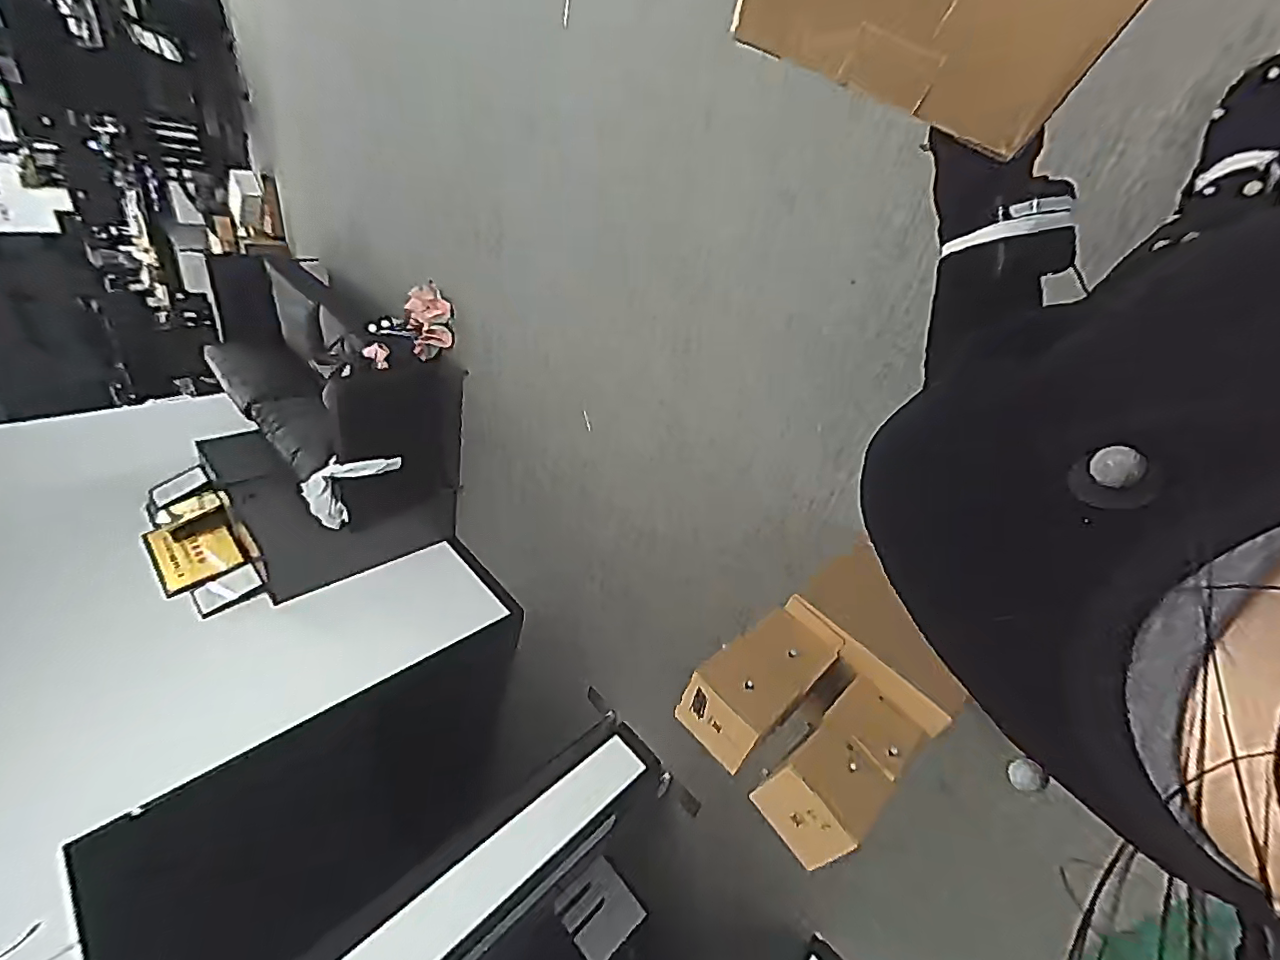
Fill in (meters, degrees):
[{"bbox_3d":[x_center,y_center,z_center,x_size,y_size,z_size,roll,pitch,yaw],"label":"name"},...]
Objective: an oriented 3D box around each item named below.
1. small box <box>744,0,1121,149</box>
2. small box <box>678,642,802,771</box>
[{"bbox_3d":[0.172,-0.315,0.264,0.168,0.179,0.176,21,147,-3],"label":"small box"},{"bbox_3d":[0.219,0.483,1.187,0.179,0.176,0.168,38,130,28],"label":"small box"}]
